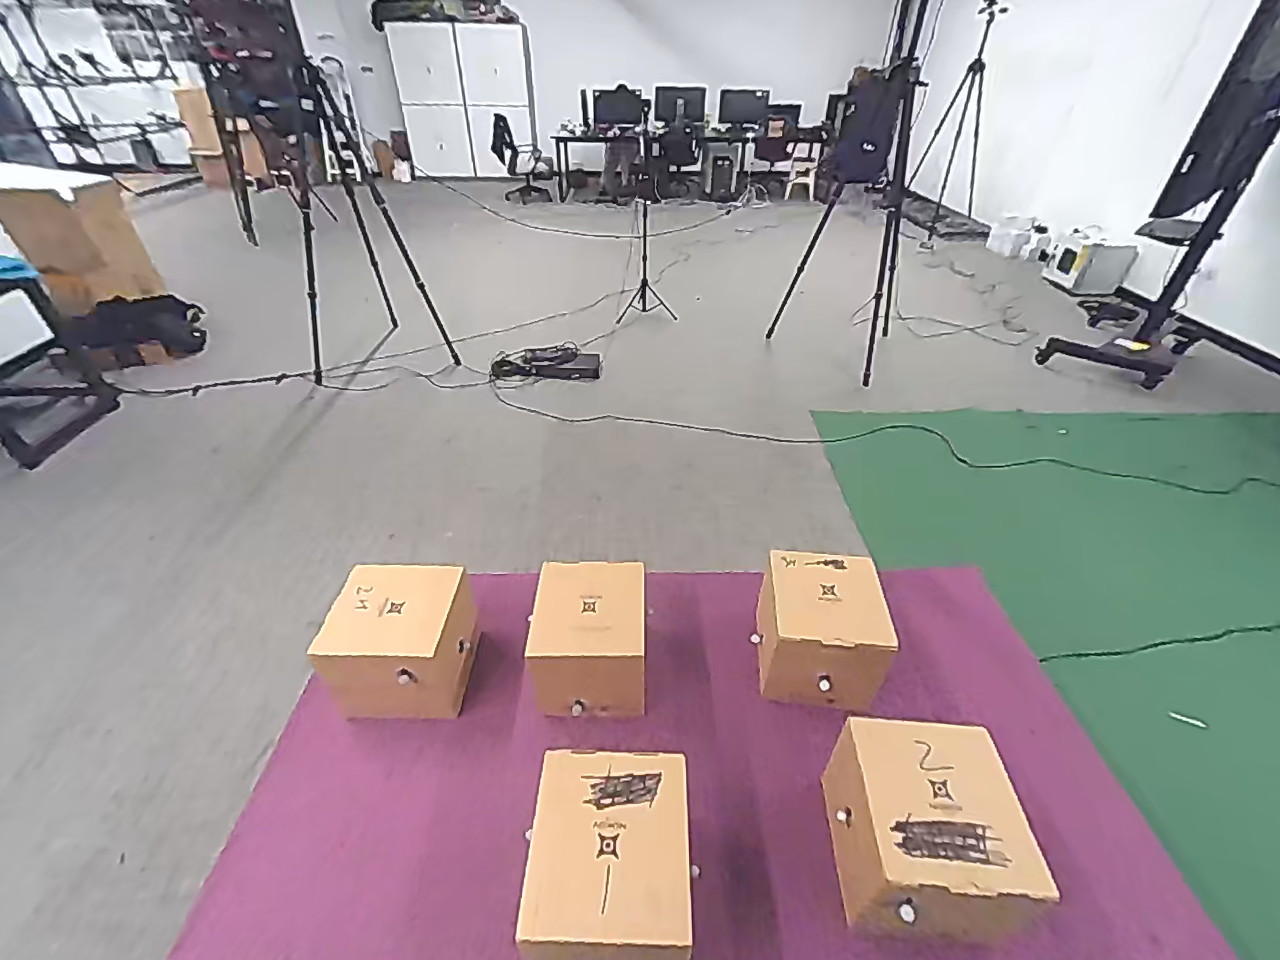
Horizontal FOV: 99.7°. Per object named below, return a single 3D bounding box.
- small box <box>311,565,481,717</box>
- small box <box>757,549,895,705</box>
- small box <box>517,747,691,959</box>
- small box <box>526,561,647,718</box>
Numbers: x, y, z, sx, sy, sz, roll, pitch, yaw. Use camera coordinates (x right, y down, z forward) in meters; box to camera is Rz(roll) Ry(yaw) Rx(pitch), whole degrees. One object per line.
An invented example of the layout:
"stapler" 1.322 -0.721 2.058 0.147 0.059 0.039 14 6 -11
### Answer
"small box" -0.362 0.252 0.847 0.179 0.176 0.168 0 38 1
"small box" 0.282 0.235 0.864 0.168 0.176 0.179 4 39 5
"small box" -0.031 0.432 0.613 0.168 0.176 0.179 1 38 2
"small box" -0.074 0.248 0.853 0.168 0.176 0.179 0 39 1
